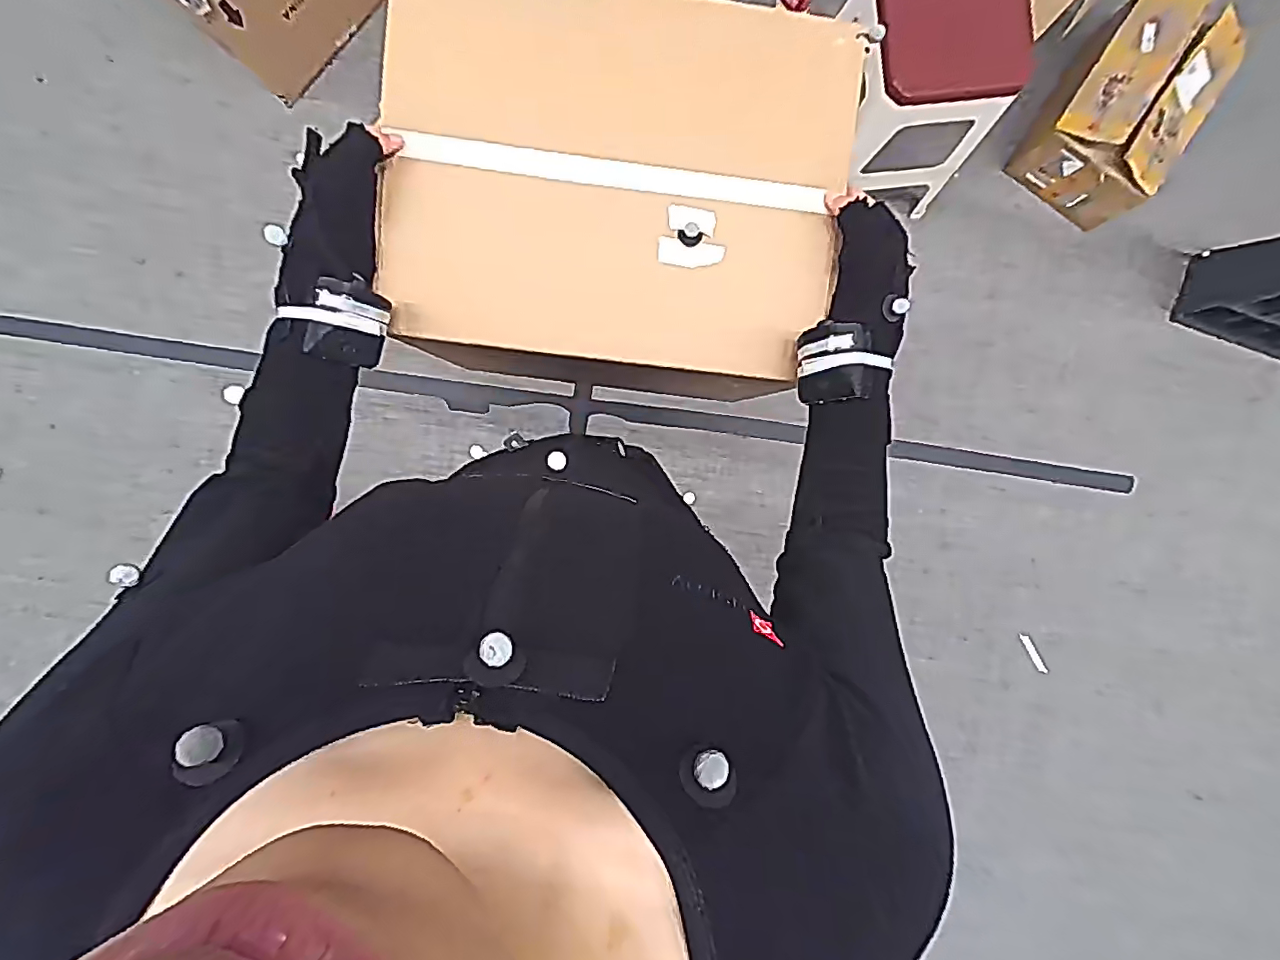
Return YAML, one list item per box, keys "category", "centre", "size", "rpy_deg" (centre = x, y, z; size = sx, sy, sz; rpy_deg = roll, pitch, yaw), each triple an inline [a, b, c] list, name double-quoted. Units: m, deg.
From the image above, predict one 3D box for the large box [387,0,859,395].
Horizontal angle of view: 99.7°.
- category: "large box"
  centre: [-0.025, -0.280, 0.625]
  size: [0.408, 0.320, 0.320]
  rpy_deg: [6, 95, -5]
